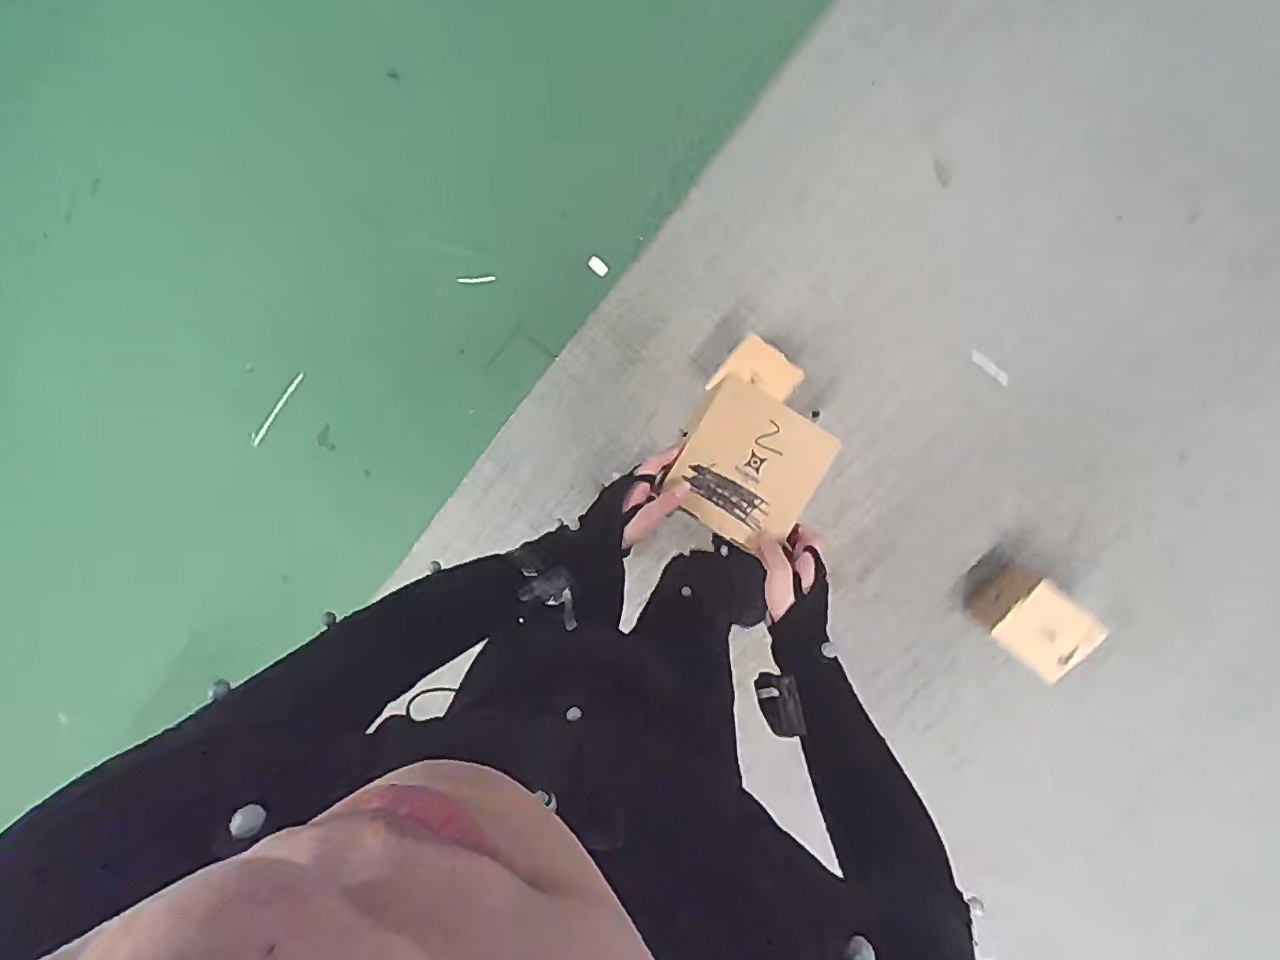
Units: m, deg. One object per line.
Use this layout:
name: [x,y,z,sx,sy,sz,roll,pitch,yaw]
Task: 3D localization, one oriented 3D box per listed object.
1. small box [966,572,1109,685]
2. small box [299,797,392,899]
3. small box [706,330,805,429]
small box: [0.911,0.334,1.263,0.179,0.176,0.168,42,102,6]
small box: [-0.932,1.169,1.732,0.168,0.176,0.179,39,102,7]
small box: [0.289,-0.241,1.350,0.168,0.176,0.179,41,100,7]
